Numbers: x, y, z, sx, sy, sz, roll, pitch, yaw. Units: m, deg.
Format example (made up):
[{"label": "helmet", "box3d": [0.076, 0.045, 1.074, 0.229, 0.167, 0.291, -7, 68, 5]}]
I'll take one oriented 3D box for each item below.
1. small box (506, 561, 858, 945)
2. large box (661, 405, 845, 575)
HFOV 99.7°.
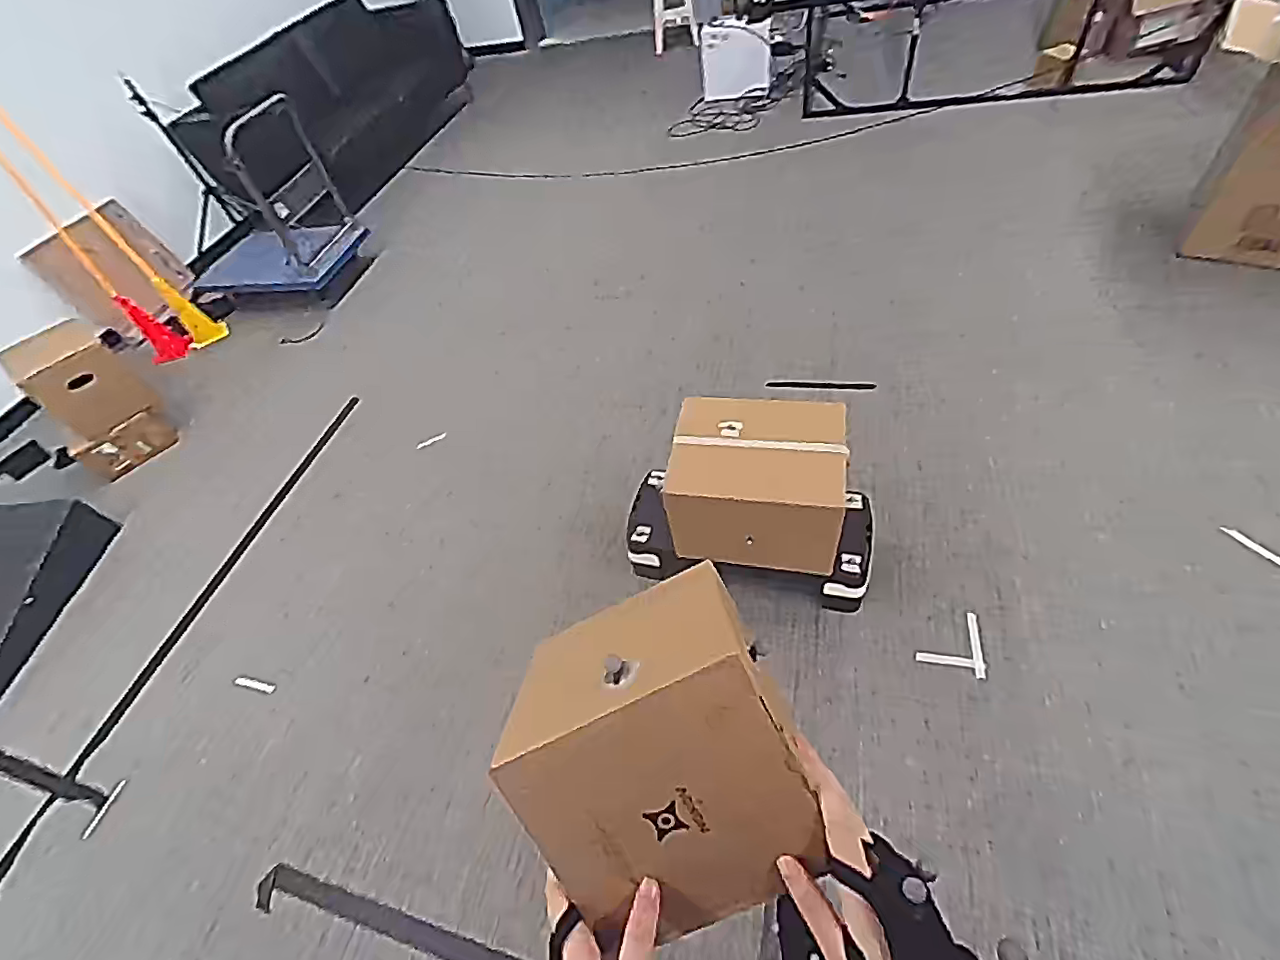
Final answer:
[{"label": "small box", "box3d": [0.029, 0.185, 0.415, 0.179, 0.168, 0.176, -26, 8, 6]}, {"label": "large box", "box3d": [0.298, 0.024, 1.379, 0.408, 0.320, 0.320, 4, 53, 17]}]
